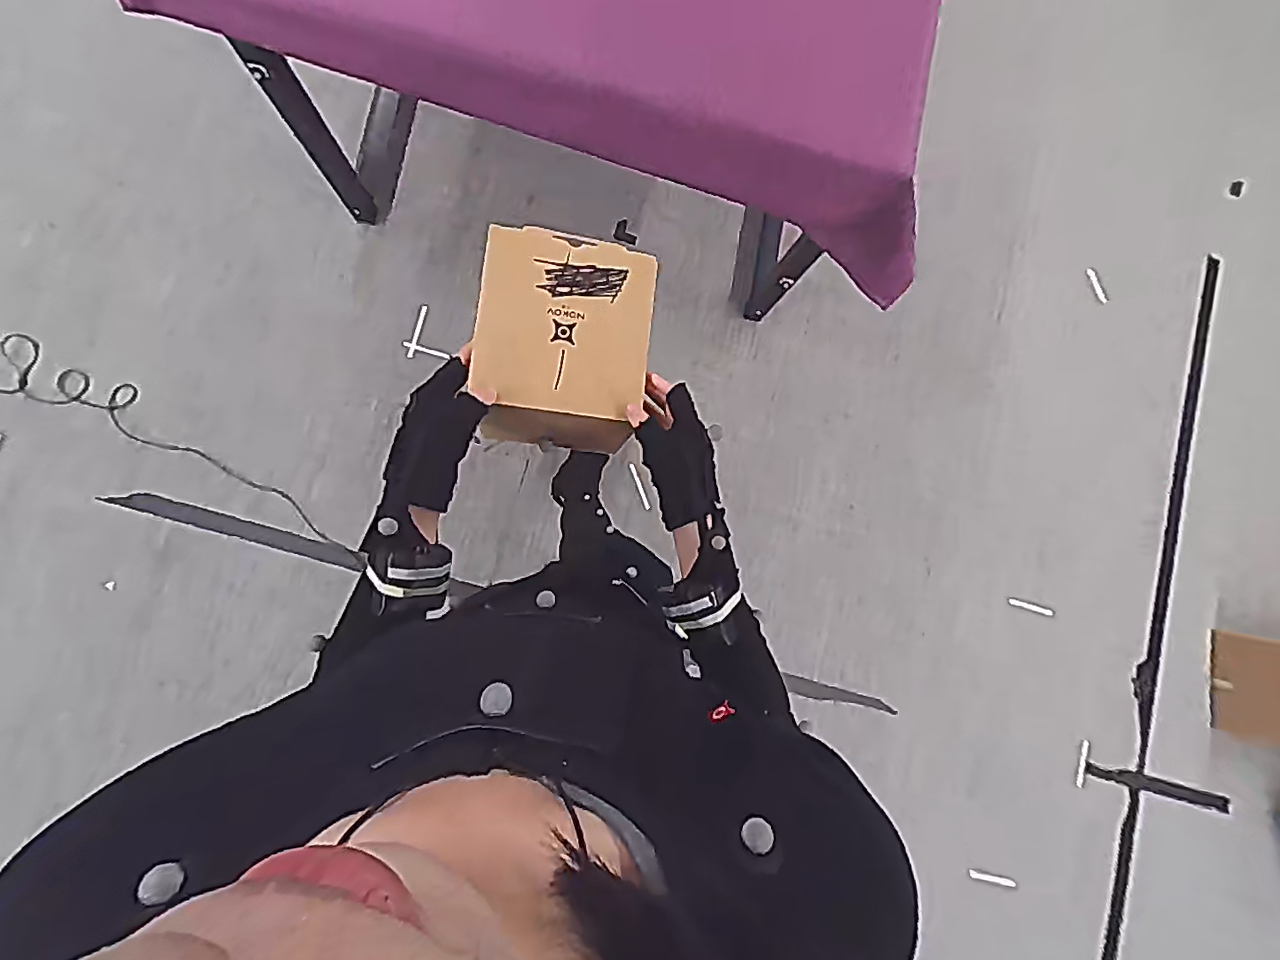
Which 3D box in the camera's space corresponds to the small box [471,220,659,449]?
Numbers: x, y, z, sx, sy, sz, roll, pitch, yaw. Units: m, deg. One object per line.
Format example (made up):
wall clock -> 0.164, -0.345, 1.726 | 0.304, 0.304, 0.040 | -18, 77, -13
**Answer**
small box -> -0.082, -0.143, 0.592 | 0.168, 0.176, 0.179 | 6, 81, -10
